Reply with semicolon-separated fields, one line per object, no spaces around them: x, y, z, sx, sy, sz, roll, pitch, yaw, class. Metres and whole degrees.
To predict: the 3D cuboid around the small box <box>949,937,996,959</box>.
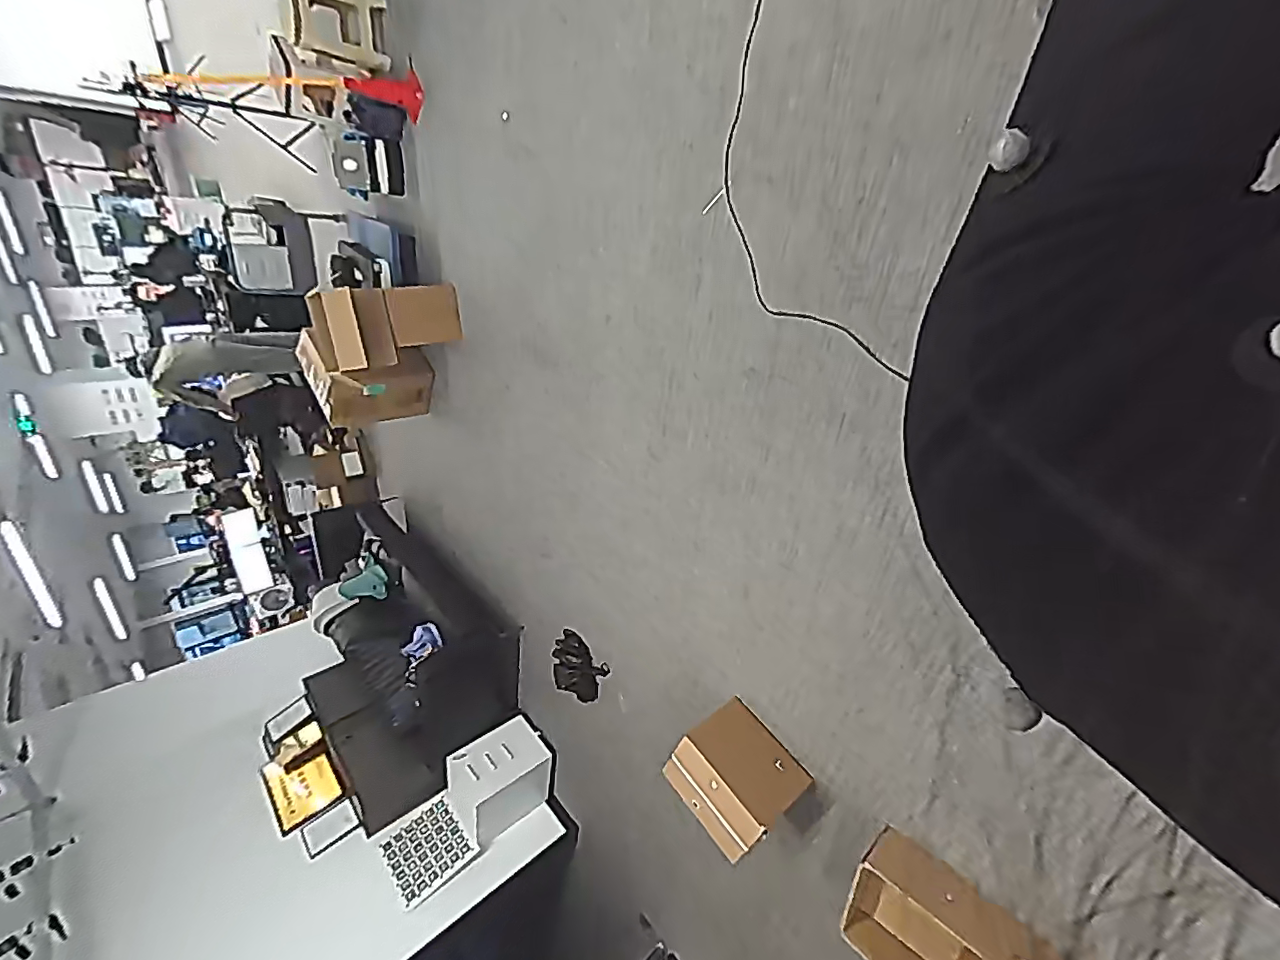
0.982;1.497;1.566;0.179;0.176;0.168;34;127;40;small box
